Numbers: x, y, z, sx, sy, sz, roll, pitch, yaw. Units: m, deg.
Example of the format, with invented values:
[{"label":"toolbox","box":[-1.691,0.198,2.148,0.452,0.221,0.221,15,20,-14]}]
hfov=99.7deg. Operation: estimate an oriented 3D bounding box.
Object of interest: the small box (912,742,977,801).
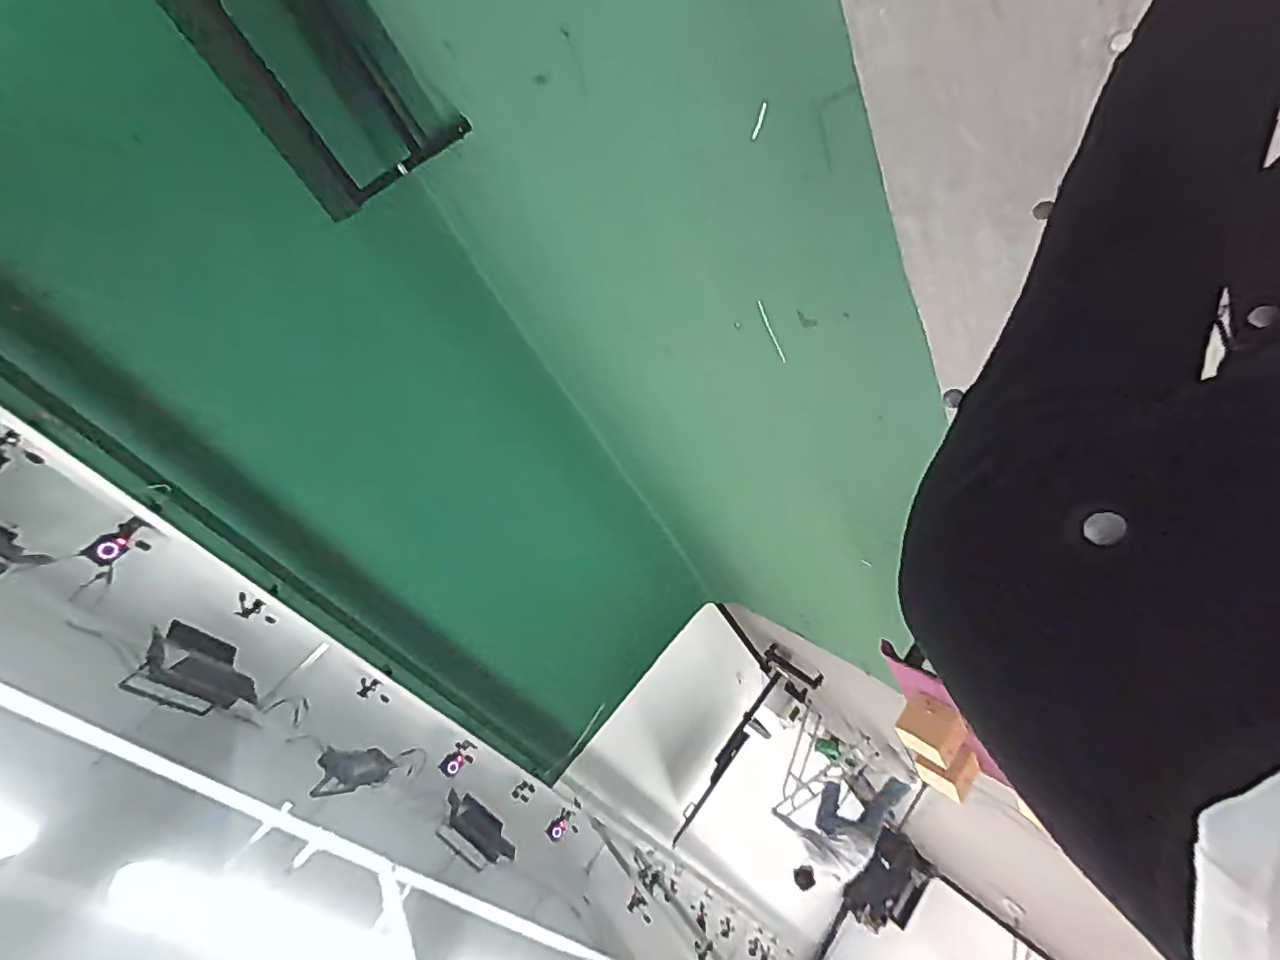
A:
[{"label":"small box","box":[1.244,1.155,2.202,0.168,0.176,0.179,16,146,52]}]

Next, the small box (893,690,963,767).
[{"label":"small box","box":[1.089,0.930,2.032,0.168,0.176,0.179,19,151,51]}]
